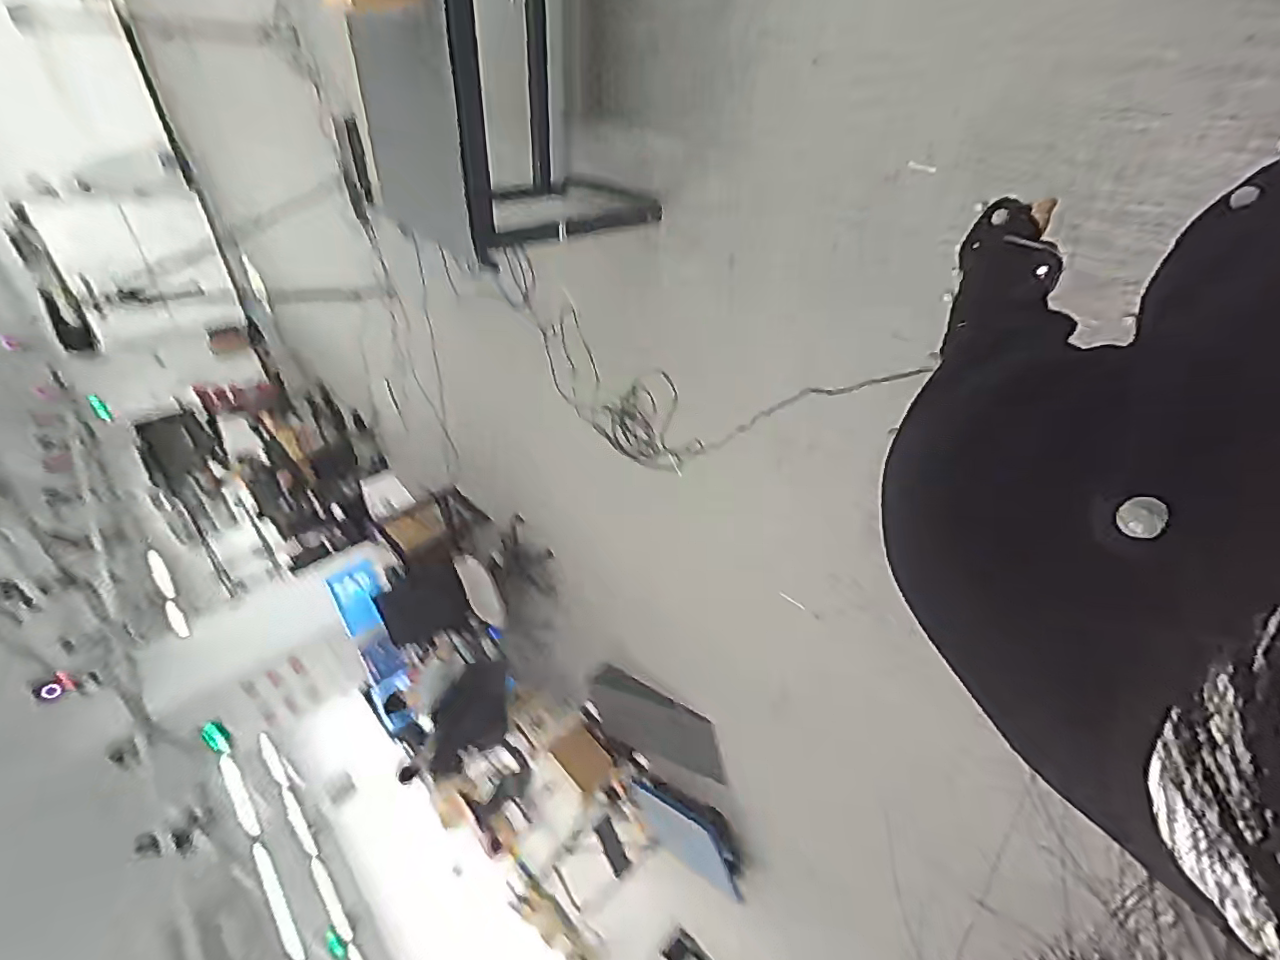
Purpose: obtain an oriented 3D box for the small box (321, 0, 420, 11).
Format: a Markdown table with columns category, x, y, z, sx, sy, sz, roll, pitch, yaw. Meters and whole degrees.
| category | x | y | z | sx | sy | sz | roll | pitch | yaw |
| --- | --- | --- | --- | --- | --- | --- | --- | --- | --- |
| small box | -0.603 | -1.142 | 1.176 | 0.179 | 0.176 | 0.168 | 32 | 136 | 36 |
